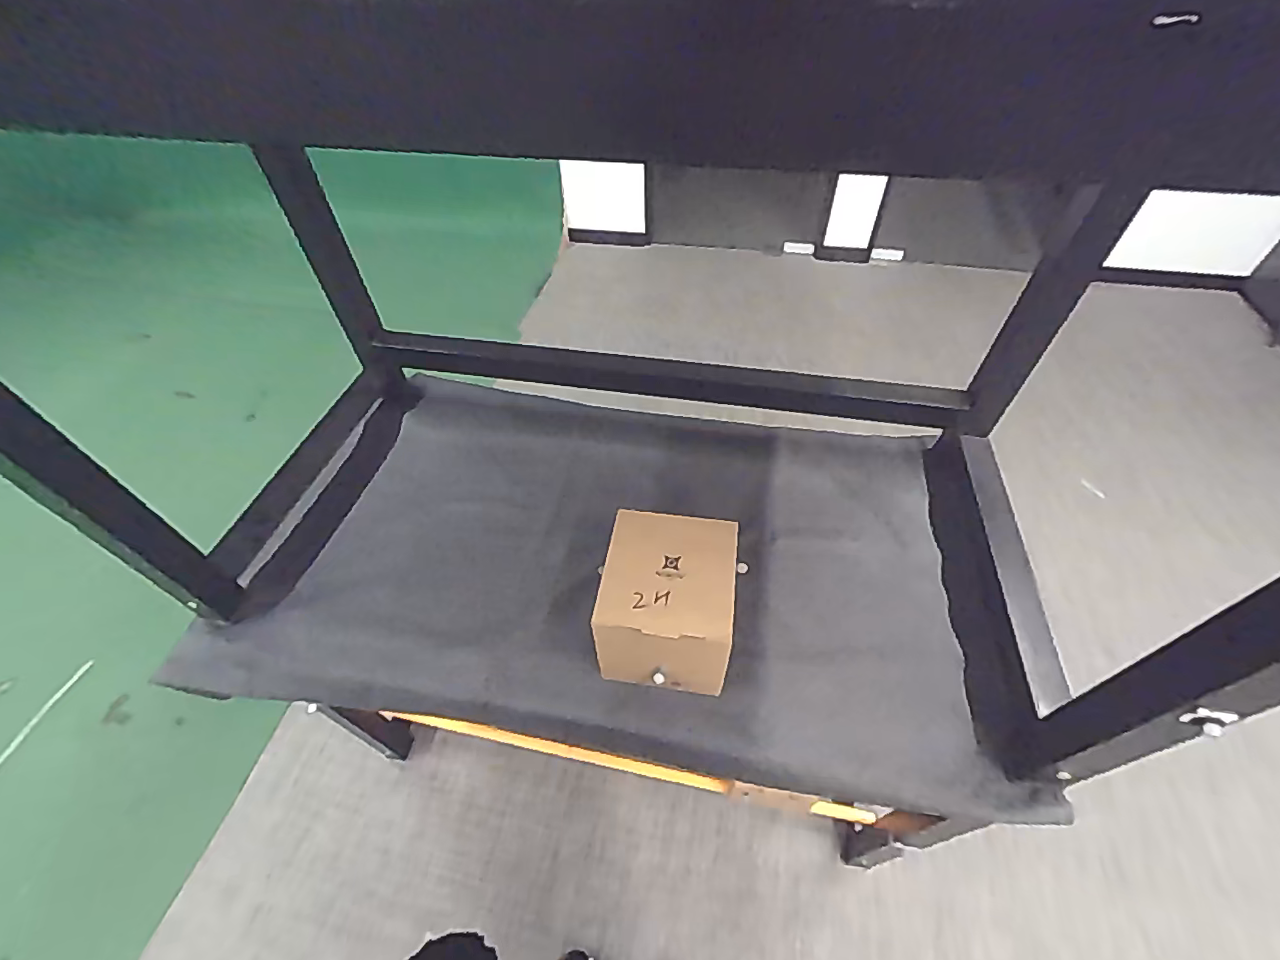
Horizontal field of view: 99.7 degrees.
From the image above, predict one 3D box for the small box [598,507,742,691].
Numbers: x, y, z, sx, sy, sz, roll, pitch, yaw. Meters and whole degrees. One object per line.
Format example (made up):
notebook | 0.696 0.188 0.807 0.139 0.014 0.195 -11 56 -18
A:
small box | 0.044 0.163 0.744 0.168 0.176 0.179 6 49 7
